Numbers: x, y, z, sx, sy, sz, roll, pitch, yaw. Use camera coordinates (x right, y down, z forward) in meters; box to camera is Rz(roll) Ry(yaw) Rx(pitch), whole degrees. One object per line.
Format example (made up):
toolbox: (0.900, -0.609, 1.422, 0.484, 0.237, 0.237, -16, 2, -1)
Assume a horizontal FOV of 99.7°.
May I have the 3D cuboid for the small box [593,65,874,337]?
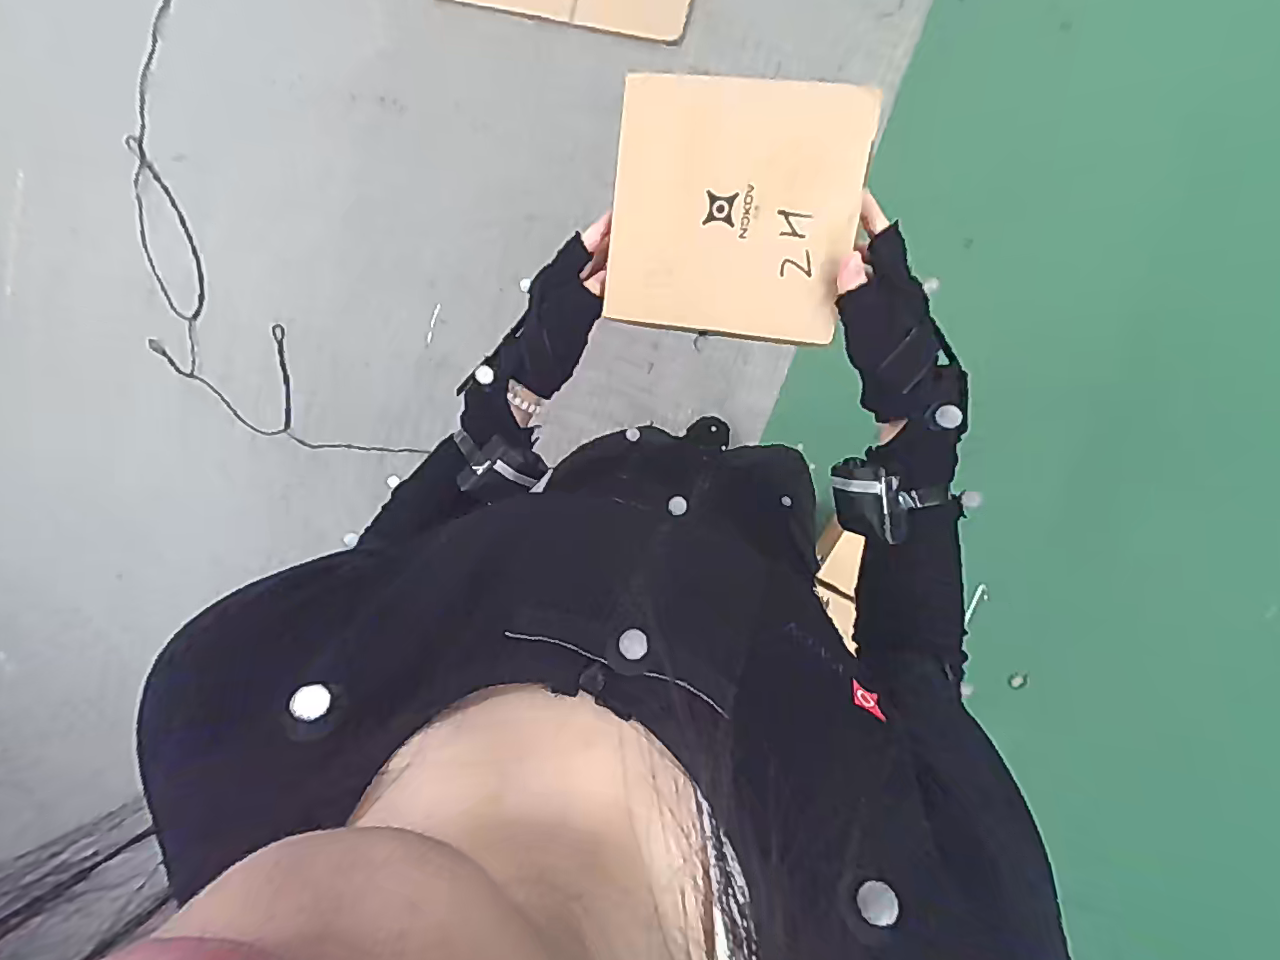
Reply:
small box: (0.072, -0.215, 0.459, 0.179, 0.176, 0.168, 9, 106, 7)
